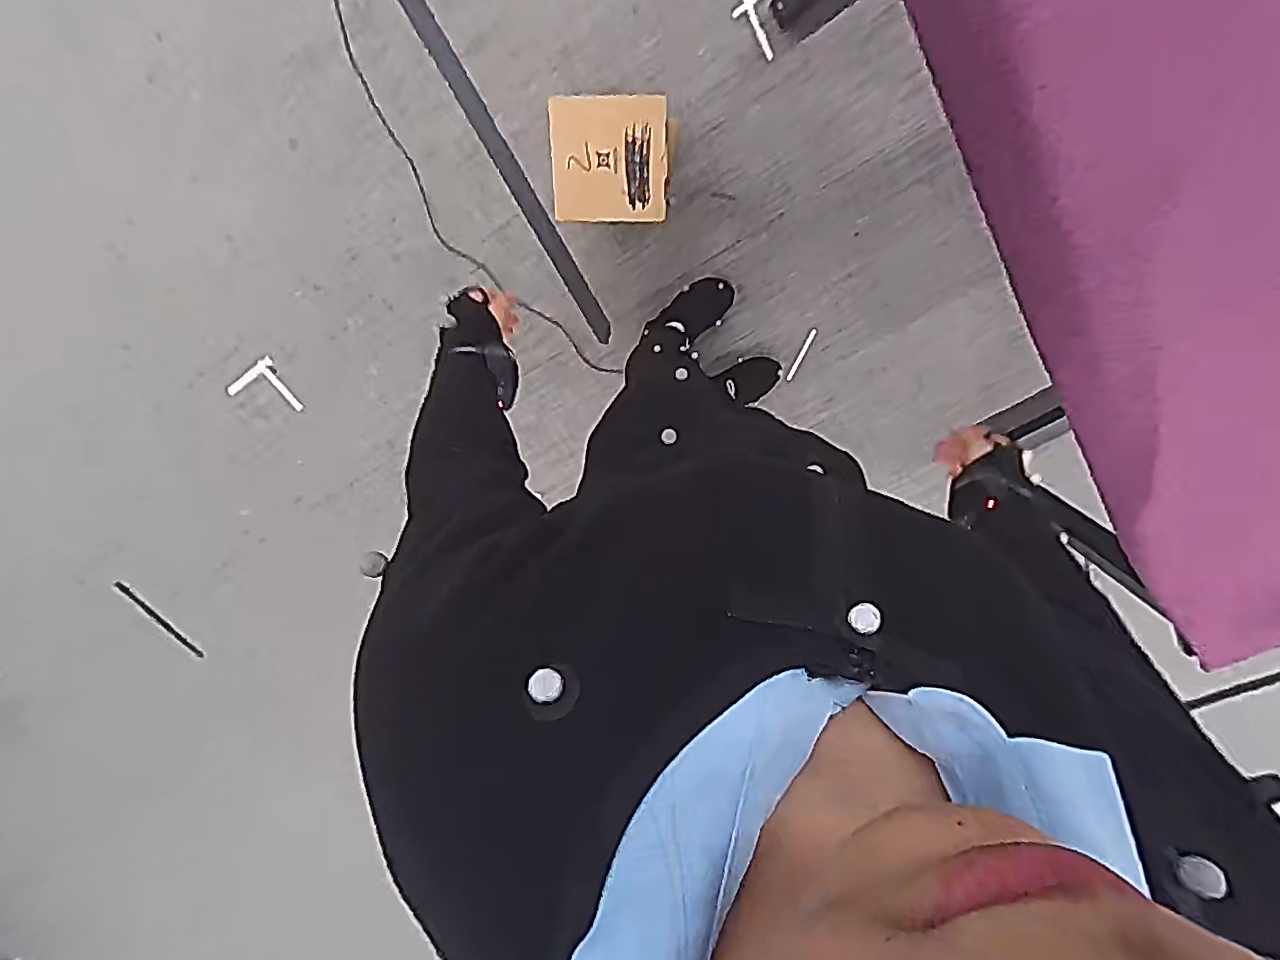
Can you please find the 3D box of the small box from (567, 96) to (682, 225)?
[{"bbox_3d":[-0.028,-0.593,1.023,0.179,0.176,0.168,13,114,-4],"label":"small box"}]
